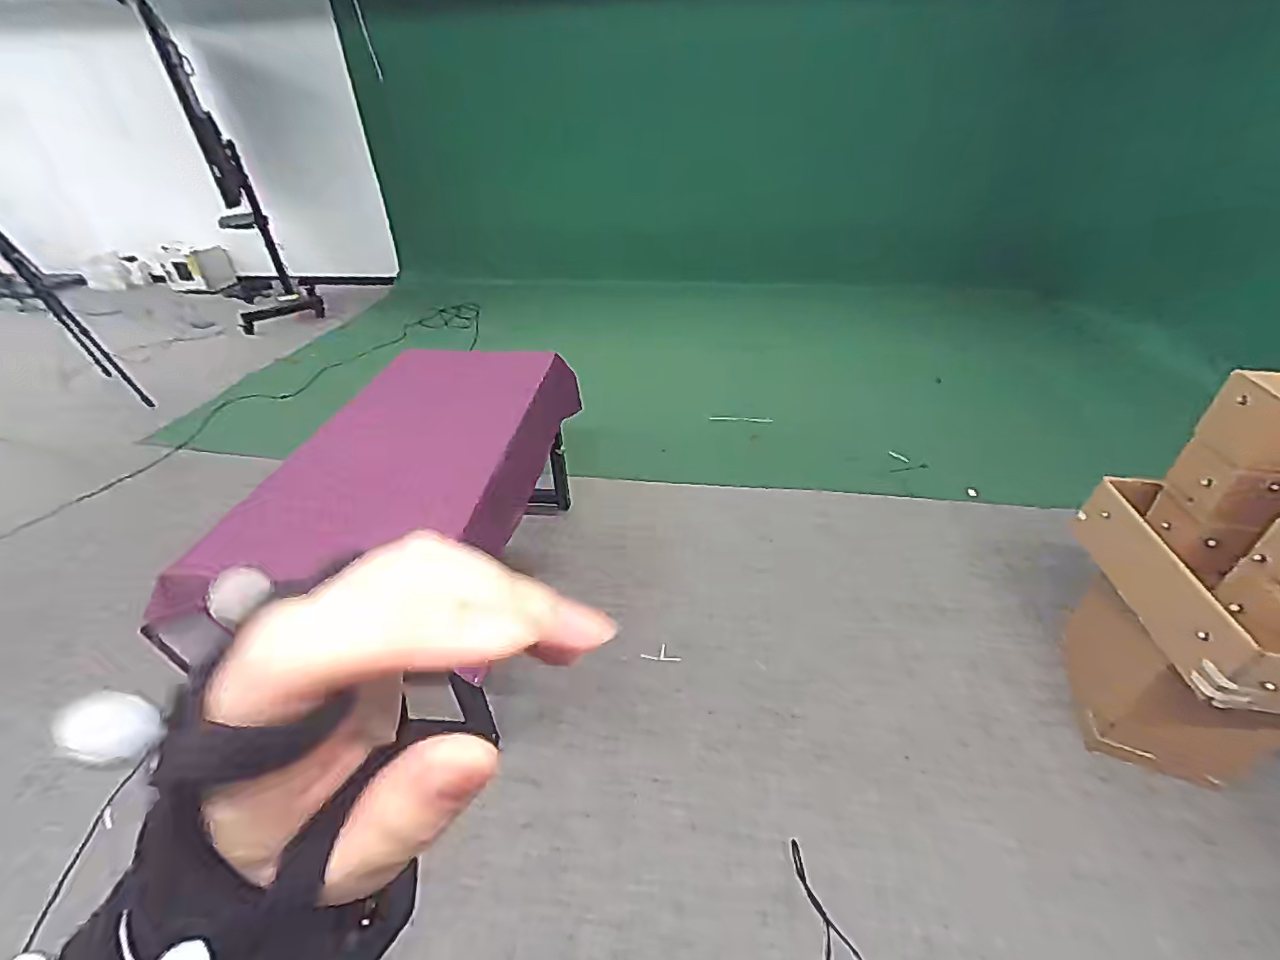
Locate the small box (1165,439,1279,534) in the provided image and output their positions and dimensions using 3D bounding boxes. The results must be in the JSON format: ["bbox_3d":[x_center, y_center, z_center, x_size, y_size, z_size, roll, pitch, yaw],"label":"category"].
[{"bbox_3d":[1.471,0.016,1.341,0.179,0.176,0.168,5,37,8],"label":"small box"}]

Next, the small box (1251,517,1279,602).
[{"bbox_3d":[1.437,0.181,1.109,0.179,0.176,0.168,7,36,10],"label":"small box"}]

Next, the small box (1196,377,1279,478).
[{"bbox_3d":[1.461,-0.119,1.247,0.168,0.176,0.179,6,37,12],"label":"small box"}]
